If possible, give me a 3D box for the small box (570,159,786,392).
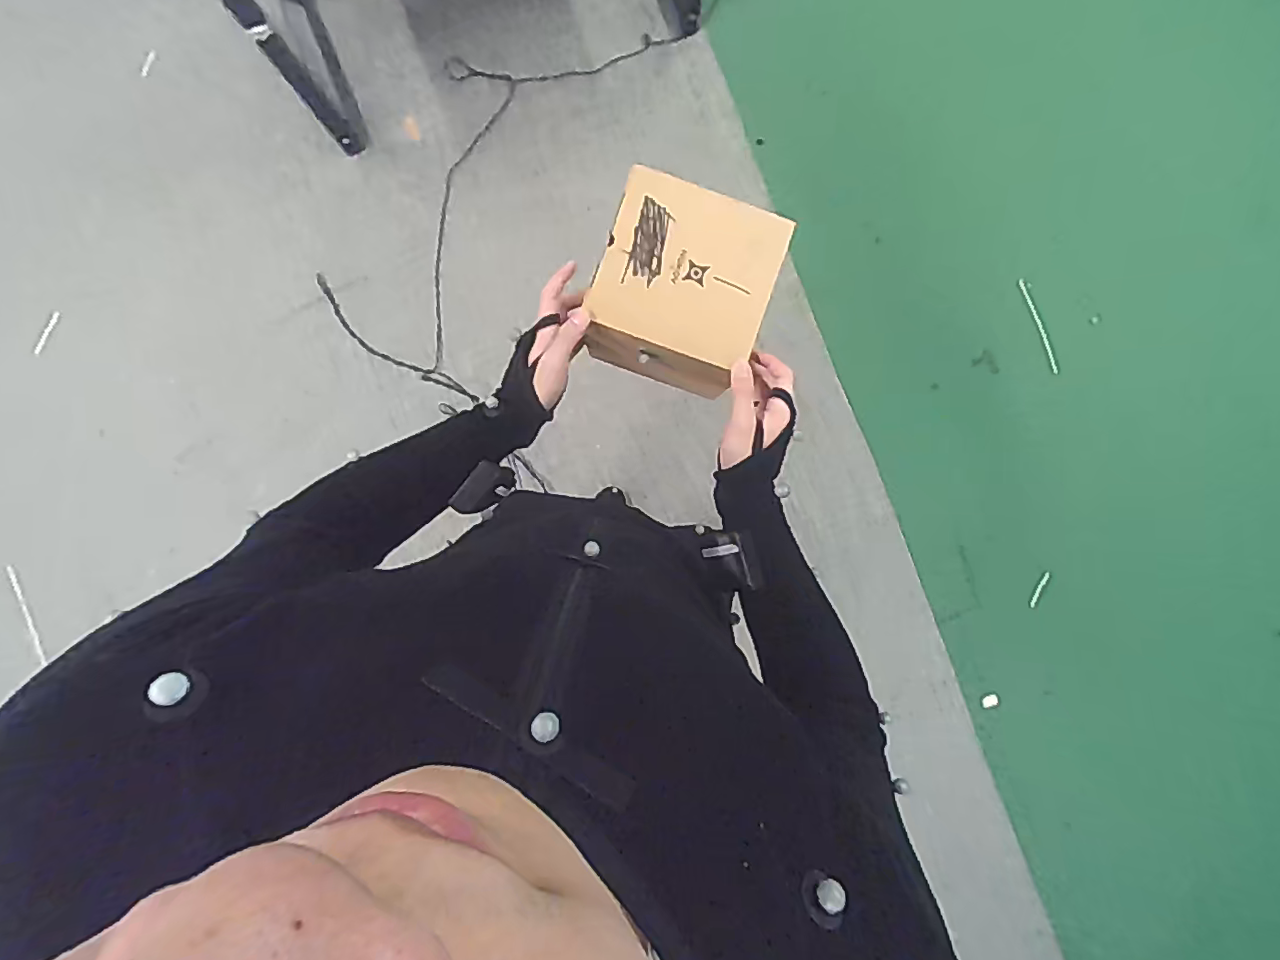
[{"bbox_3d":[0.034,-0.212,0.614,0.179,0.176,0.168,19,88,-3],"label":"small box"}]
